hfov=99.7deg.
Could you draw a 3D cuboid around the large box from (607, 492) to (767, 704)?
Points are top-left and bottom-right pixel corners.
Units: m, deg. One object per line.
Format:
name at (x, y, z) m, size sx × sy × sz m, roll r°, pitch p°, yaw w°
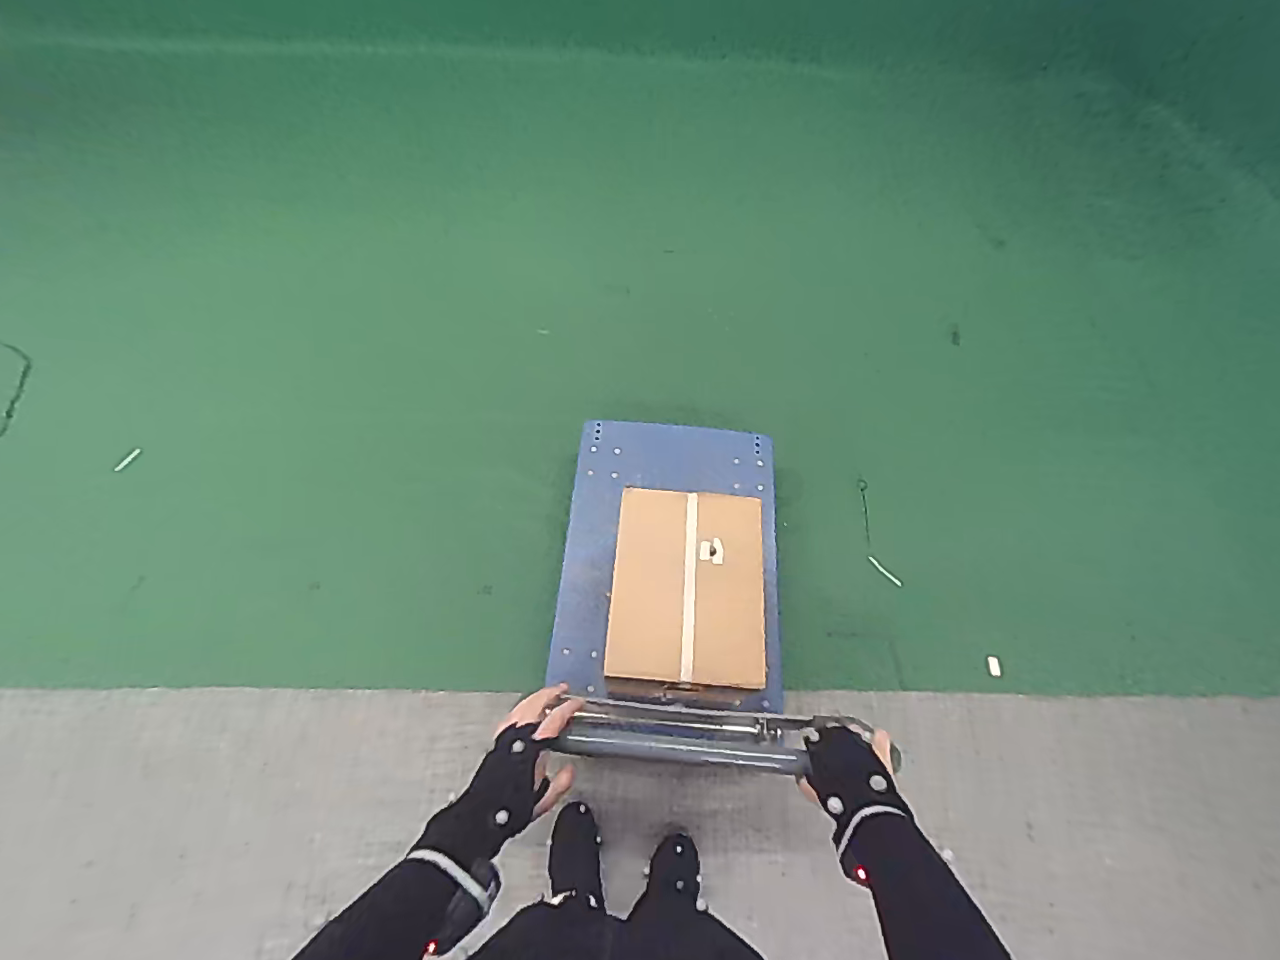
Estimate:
large box at (0.098, 0.283, 1.250) m, size 0.320 × 0.320 × 0.408 m, roll 6°, pitch 62°, yaw 0°
